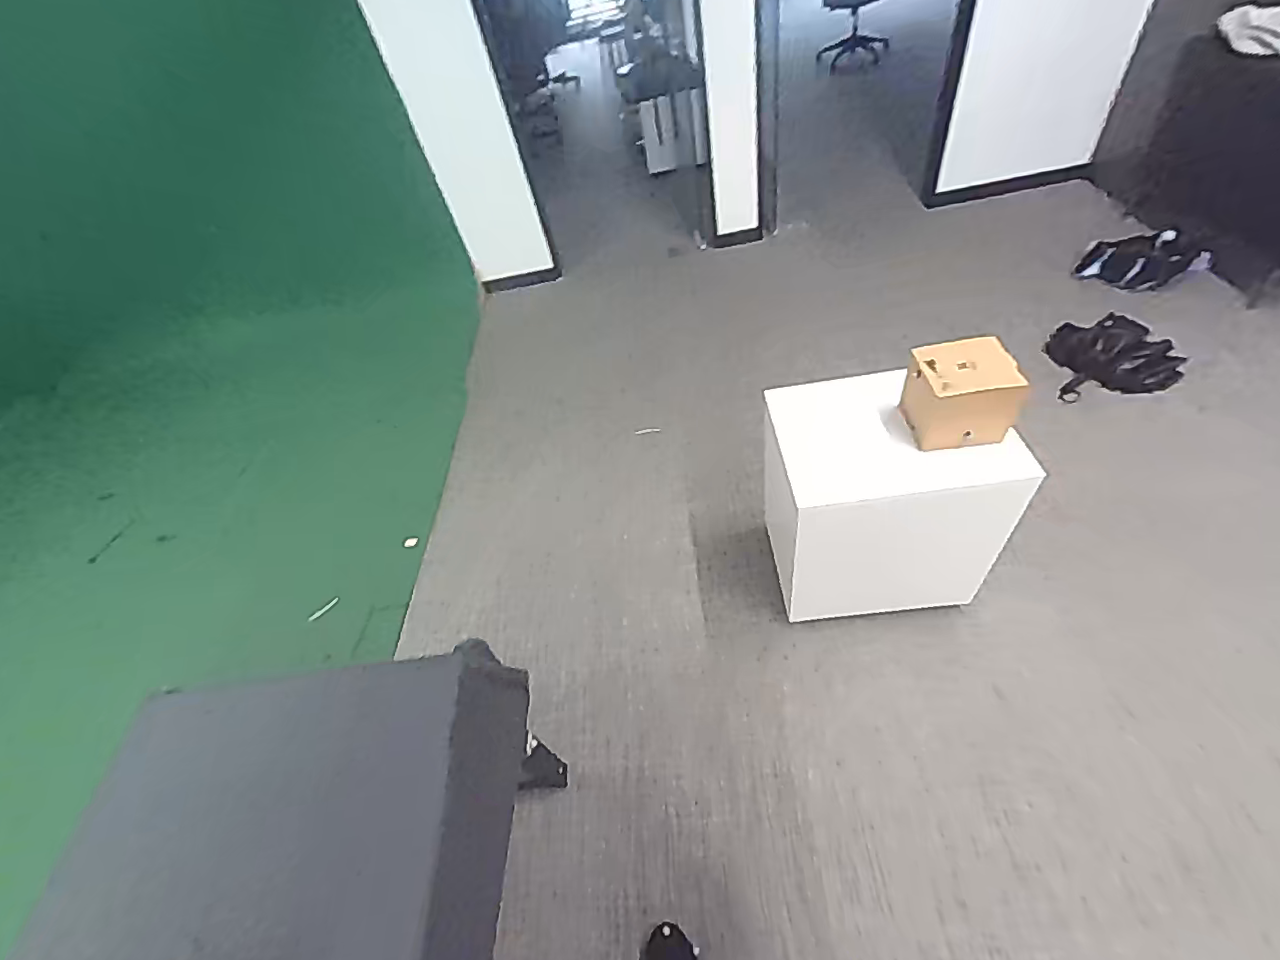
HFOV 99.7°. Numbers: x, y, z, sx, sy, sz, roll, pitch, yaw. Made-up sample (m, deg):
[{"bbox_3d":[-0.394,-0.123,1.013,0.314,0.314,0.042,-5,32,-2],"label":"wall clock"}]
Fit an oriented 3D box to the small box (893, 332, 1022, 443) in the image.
[{"bbox_3d":[0.685,-0.199,1.192,0.179,0.176,0.168,-6,50,6],"label":"small box"}]
